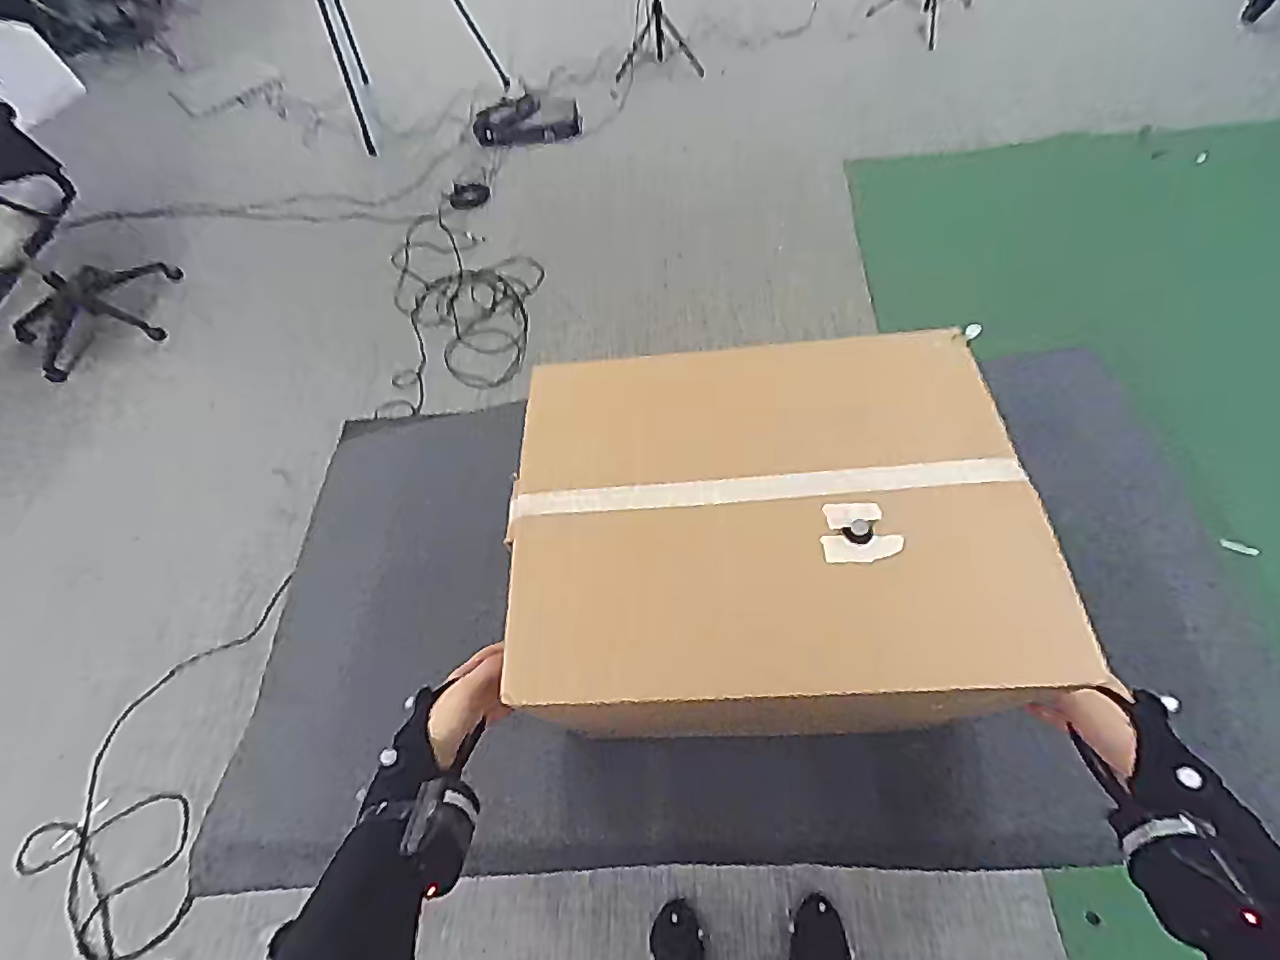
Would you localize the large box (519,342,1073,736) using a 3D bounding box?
[{"bbox_3d":[0.113,0.088,0.588,0.408,0.320,0.320,-4,61,4],"label":"large box"}]
